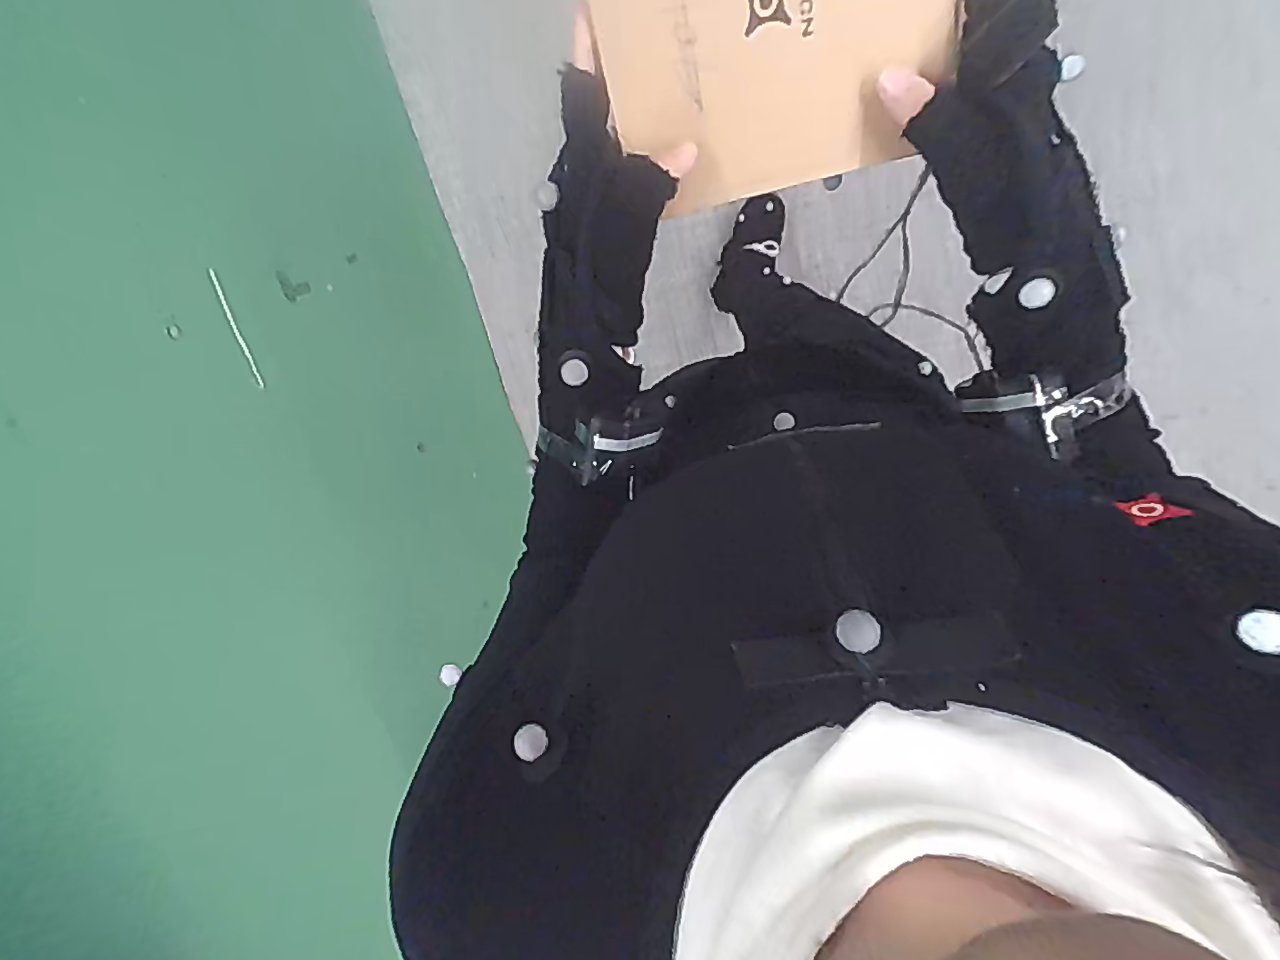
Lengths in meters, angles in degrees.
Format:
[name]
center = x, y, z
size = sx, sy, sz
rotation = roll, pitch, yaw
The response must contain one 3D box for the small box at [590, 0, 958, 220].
[small box]
center = 0.067, -0.277, 0.332
size = 0.179, 0.176, 0.168
rotation = -10, 120, 10
